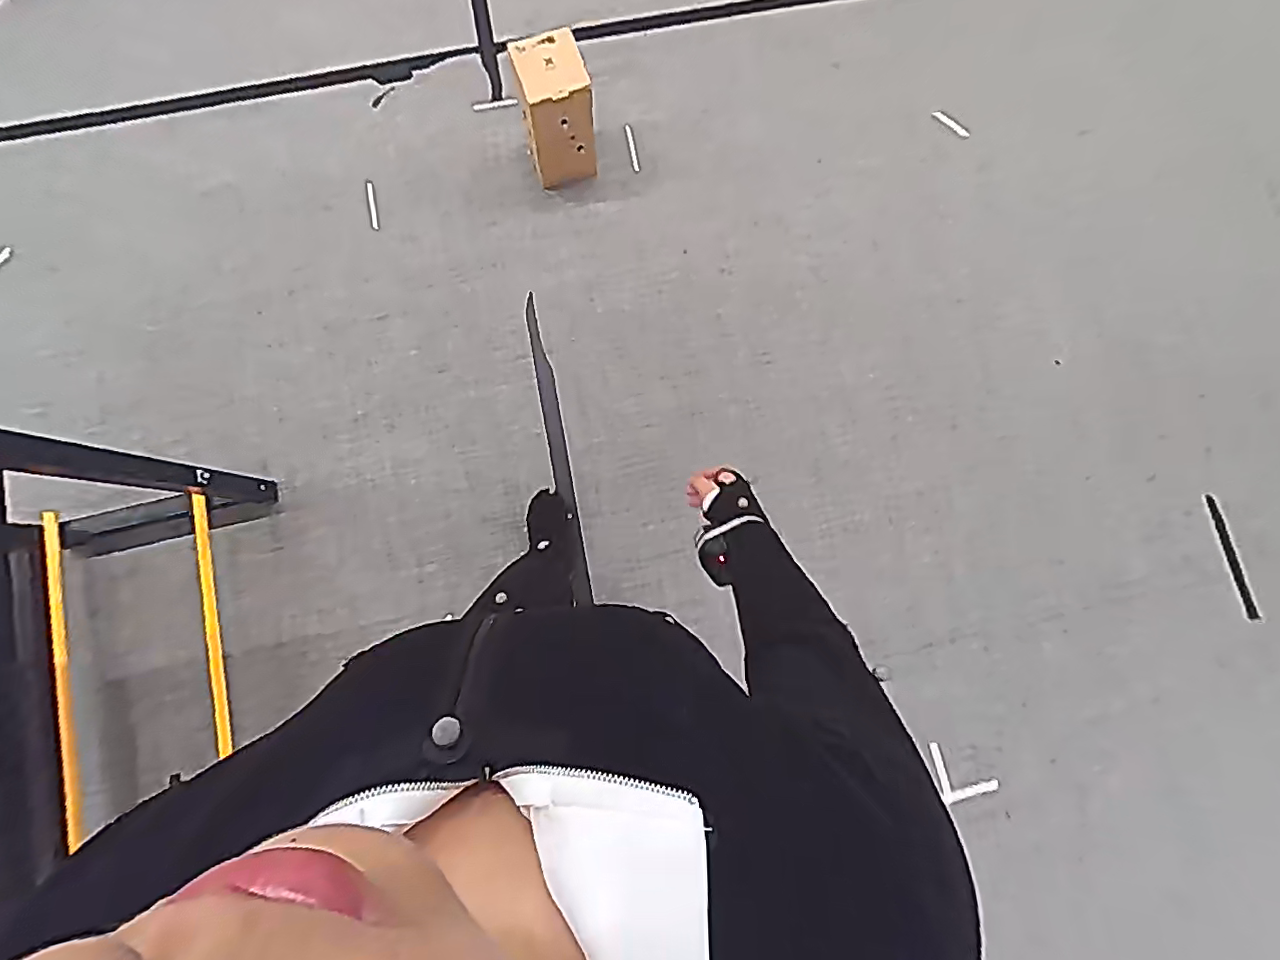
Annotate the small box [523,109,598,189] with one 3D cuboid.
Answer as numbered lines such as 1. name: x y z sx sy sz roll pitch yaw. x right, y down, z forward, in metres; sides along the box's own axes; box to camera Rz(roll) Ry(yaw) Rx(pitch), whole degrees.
1. small box: -0.227 -0.987 1.574 0.179 0.176 0.168 -18 83 -4

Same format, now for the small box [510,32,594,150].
1. small box: -0.222 -1.000 1.410 0.168 0.176 0.179 -19 84 -5
